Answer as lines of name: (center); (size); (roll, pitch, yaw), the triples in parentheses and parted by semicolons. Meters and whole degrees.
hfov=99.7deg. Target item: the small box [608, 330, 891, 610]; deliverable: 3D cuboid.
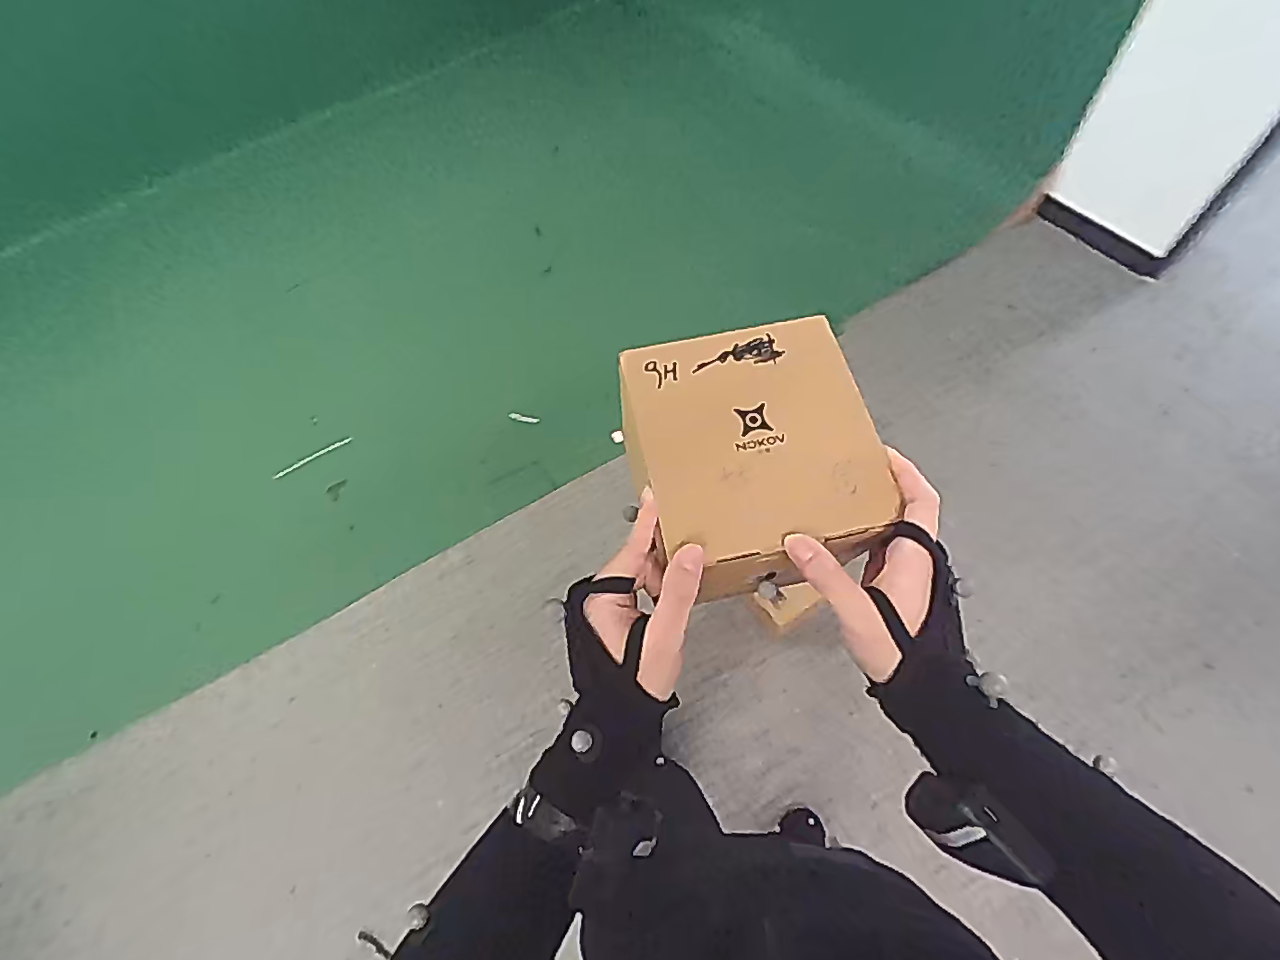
small box: (0.074, 0.006, 0.461); (0.168, 0.176, 0.179); (-12, 69, -4)
